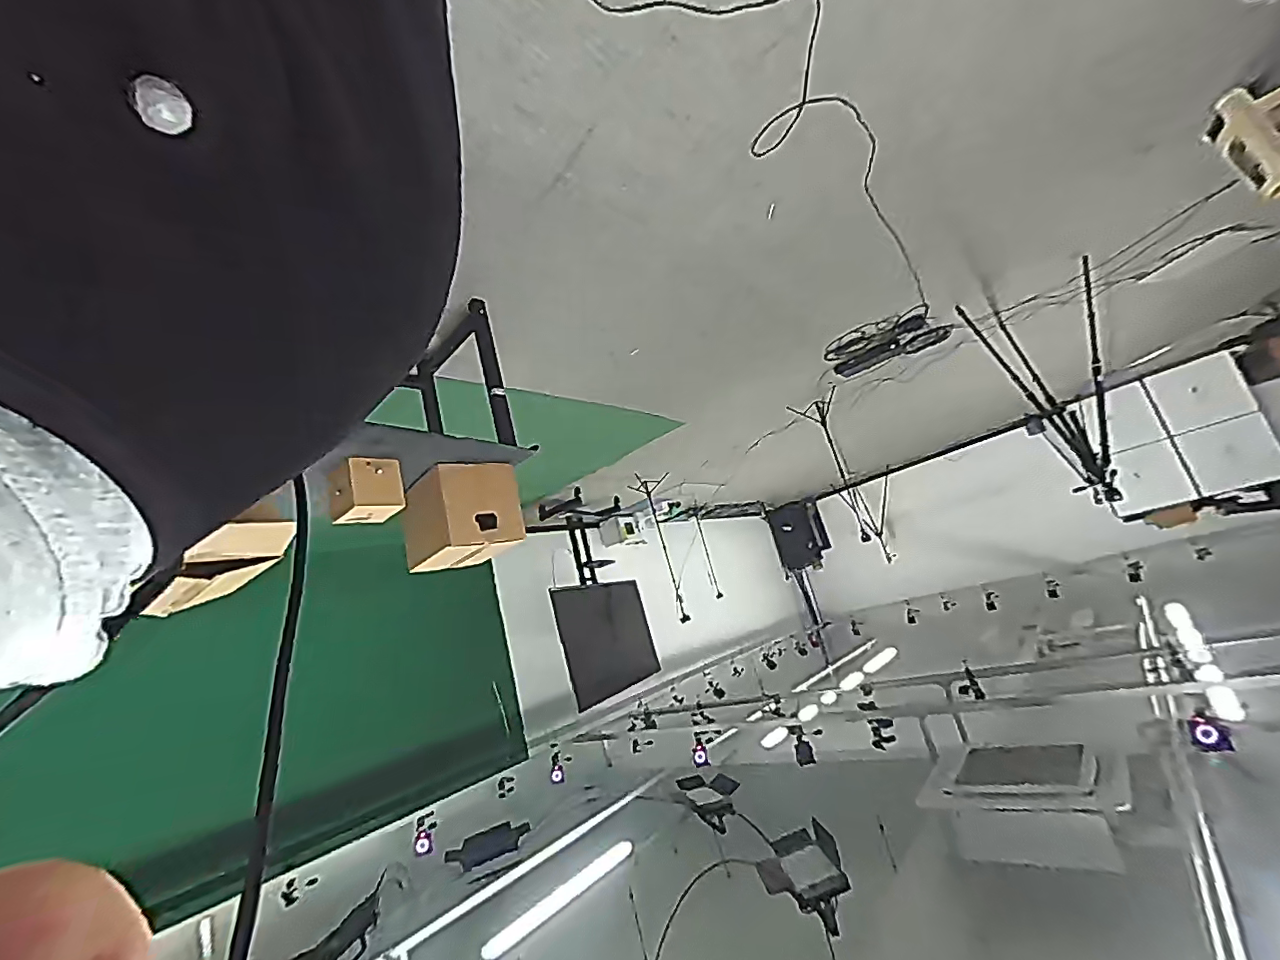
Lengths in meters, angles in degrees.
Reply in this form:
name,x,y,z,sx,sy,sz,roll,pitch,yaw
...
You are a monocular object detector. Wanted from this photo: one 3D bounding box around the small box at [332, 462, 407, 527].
name,x,y,z,sx,sy,sz,roll,pitch,yaw
small box,-0.902,0.051,1.793,0.179,0.176,0.168,-26,164,35
